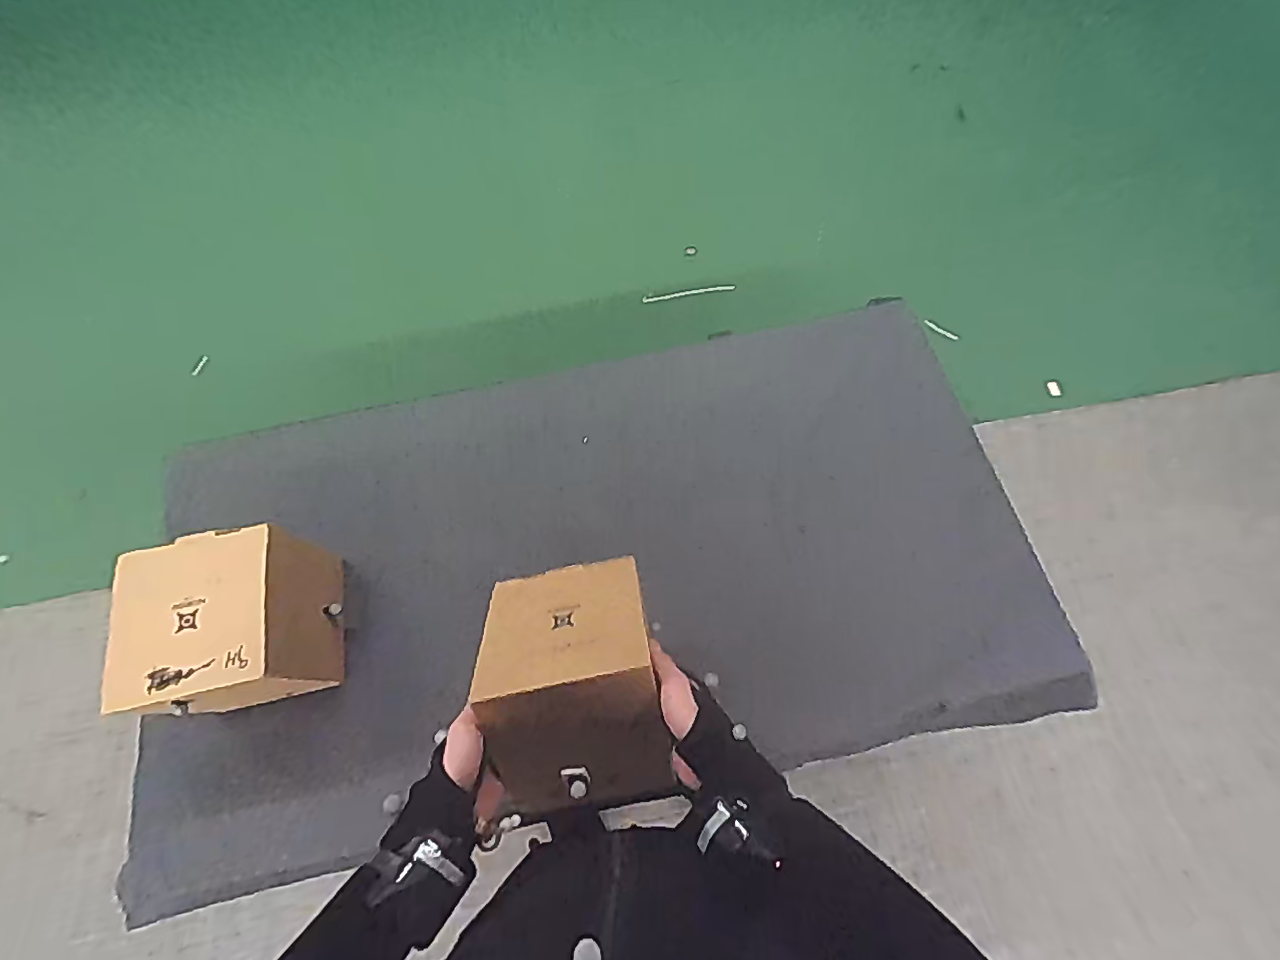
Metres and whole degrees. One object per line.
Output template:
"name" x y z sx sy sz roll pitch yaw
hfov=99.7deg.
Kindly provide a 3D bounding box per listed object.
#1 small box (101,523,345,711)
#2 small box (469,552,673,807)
"small box" -0.484 0.173 0.659 0.168 0.176 0.179 -12 69 -4
"small box" -0.065 0.207 0.580 0.168 0.176 0.179 -11 29 -1
